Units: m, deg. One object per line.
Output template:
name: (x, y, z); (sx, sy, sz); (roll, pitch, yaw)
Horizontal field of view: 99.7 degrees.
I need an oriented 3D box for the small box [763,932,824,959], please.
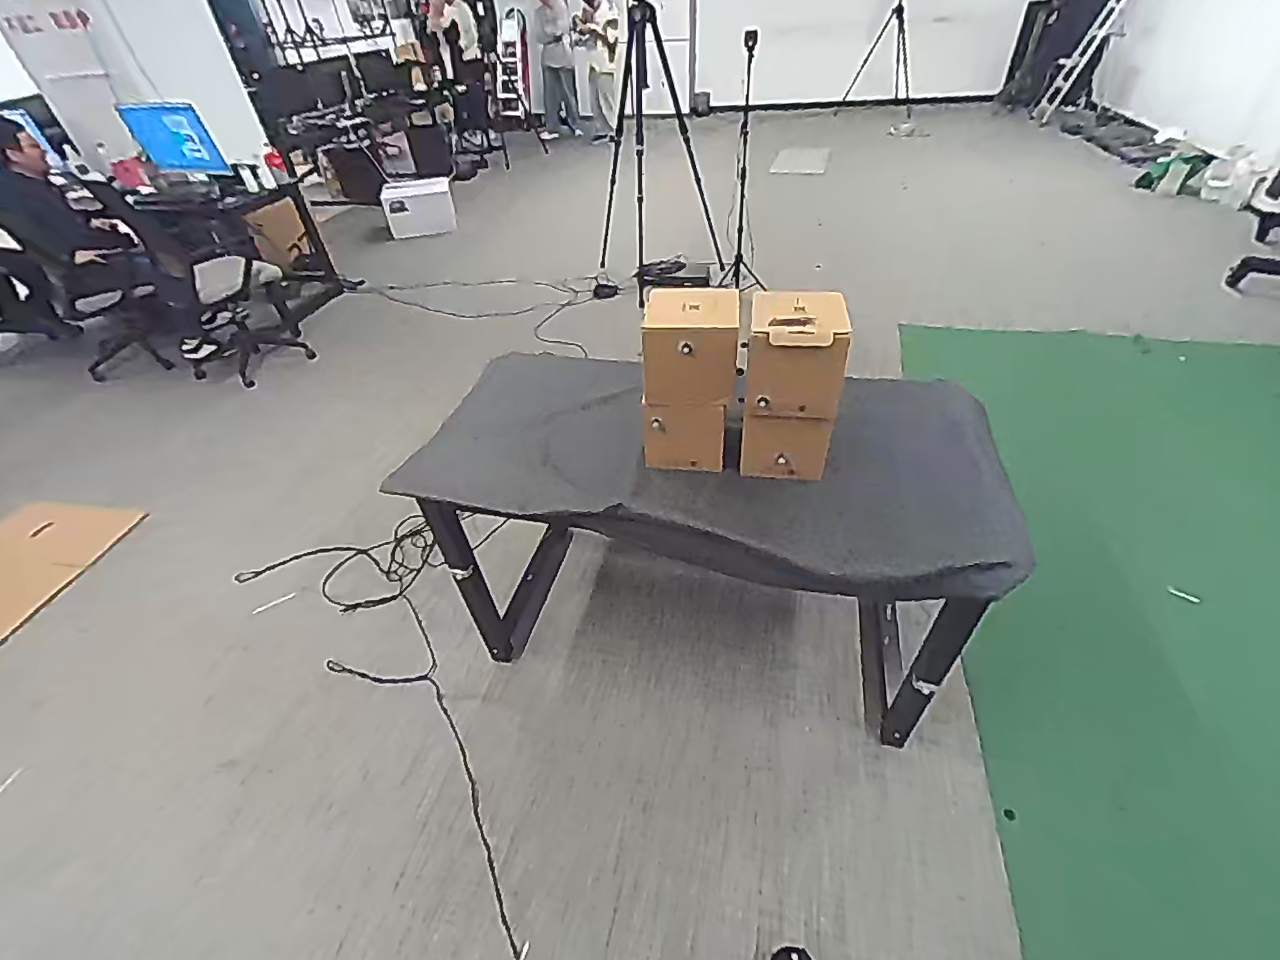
small box: (0.287, 0.993, 0.970); (0.179, 0.176, 0.168); (-10, 11, -41)
